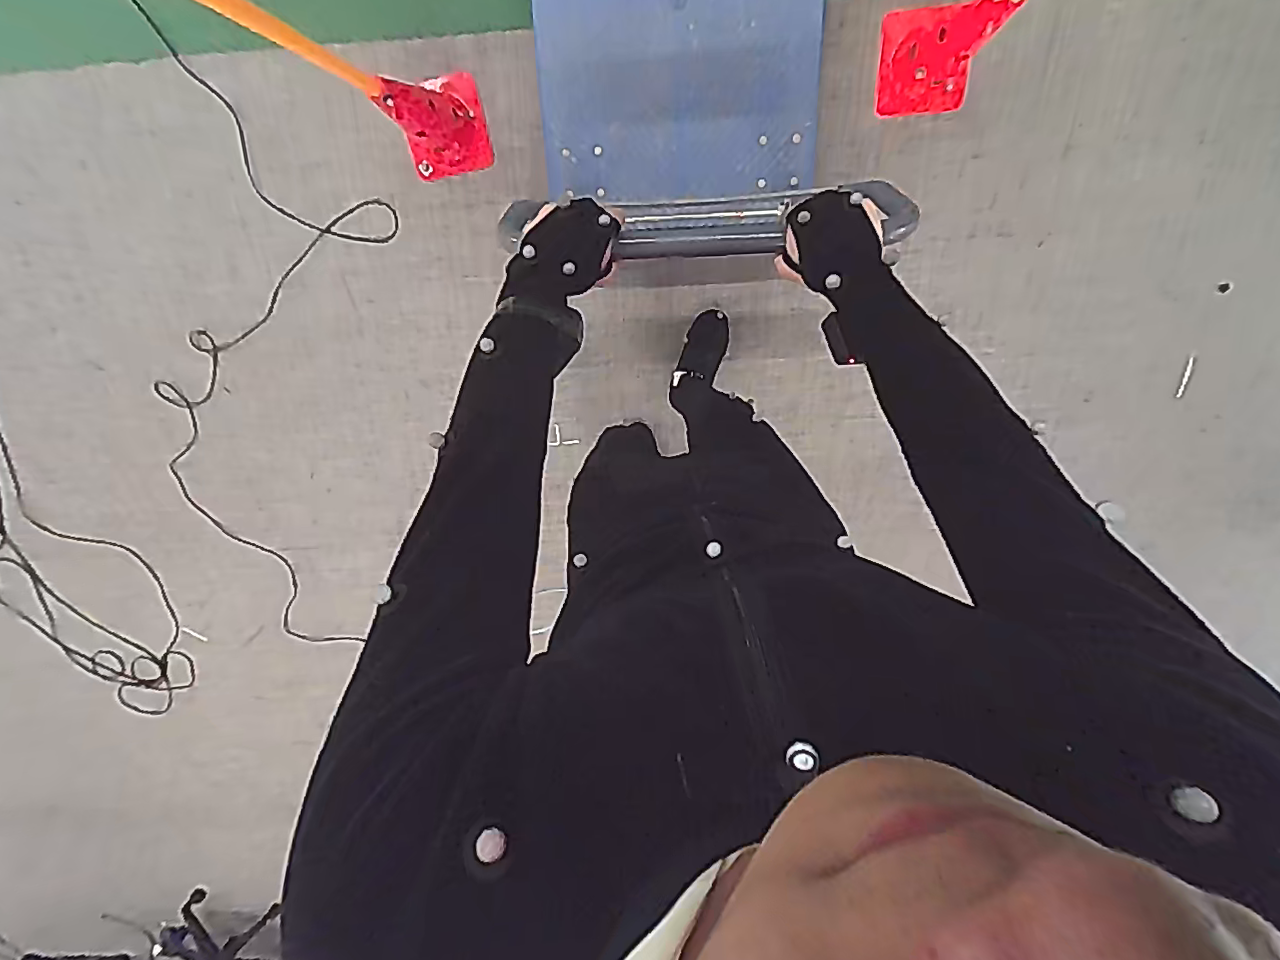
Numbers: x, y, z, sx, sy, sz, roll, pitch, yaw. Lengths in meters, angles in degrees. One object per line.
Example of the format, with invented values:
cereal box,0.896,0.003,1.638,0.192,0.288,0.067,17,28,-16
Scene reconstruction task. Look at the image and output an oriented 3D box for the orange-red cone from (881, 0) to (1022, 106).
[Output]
orange-red cone,0.634,-0.883,1.034,0.198,0.360,0.199,-2,111,3
